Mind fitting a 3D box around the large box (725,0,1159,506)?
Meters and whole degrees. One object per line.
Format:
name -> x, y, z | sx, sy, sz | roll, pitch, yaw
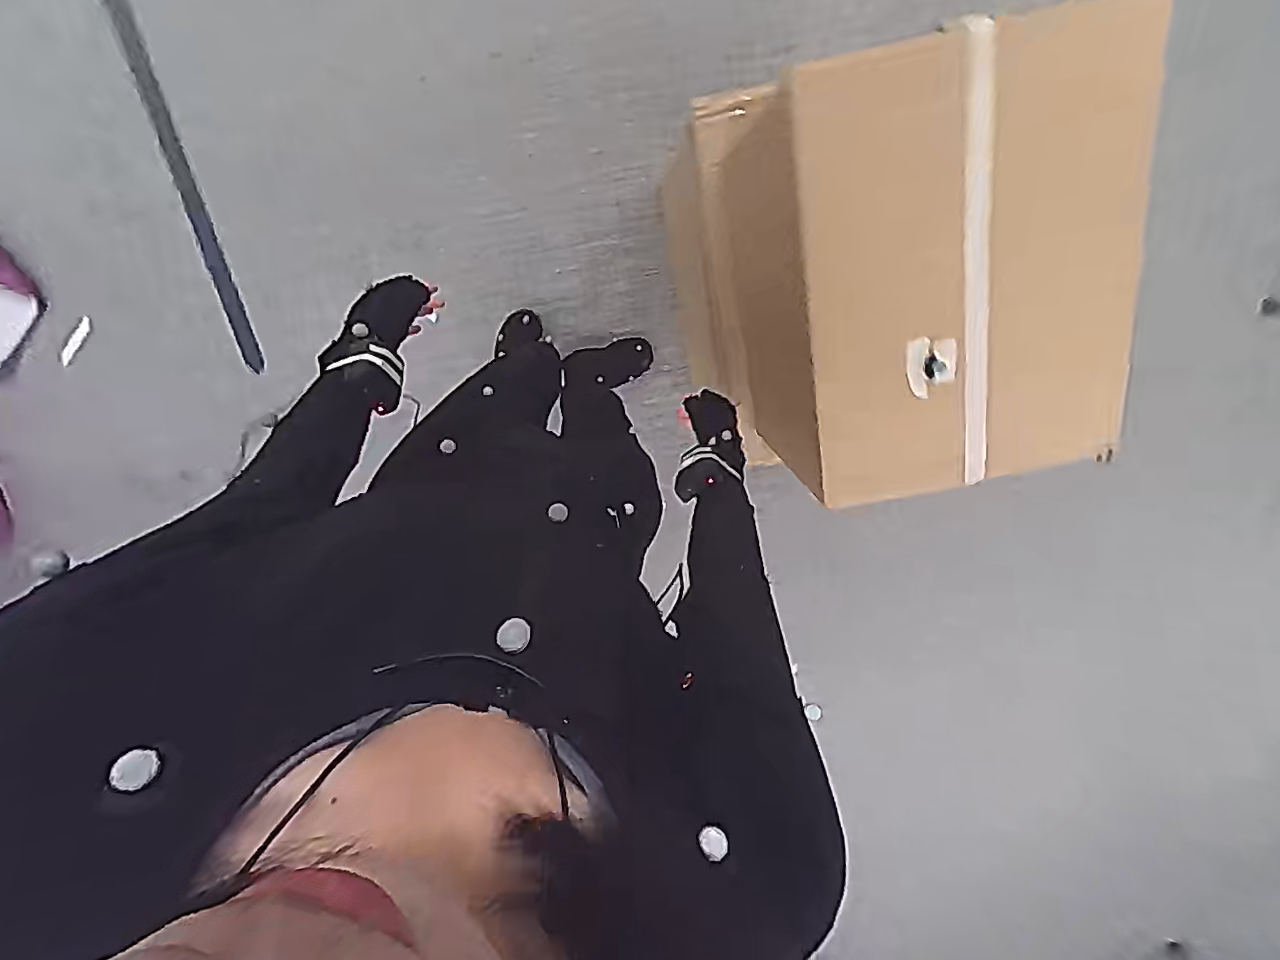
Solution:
large box -> 0.307, -0.234, 0.650 | 0.320, 0.320, 0.408 | -11, 110, 2
